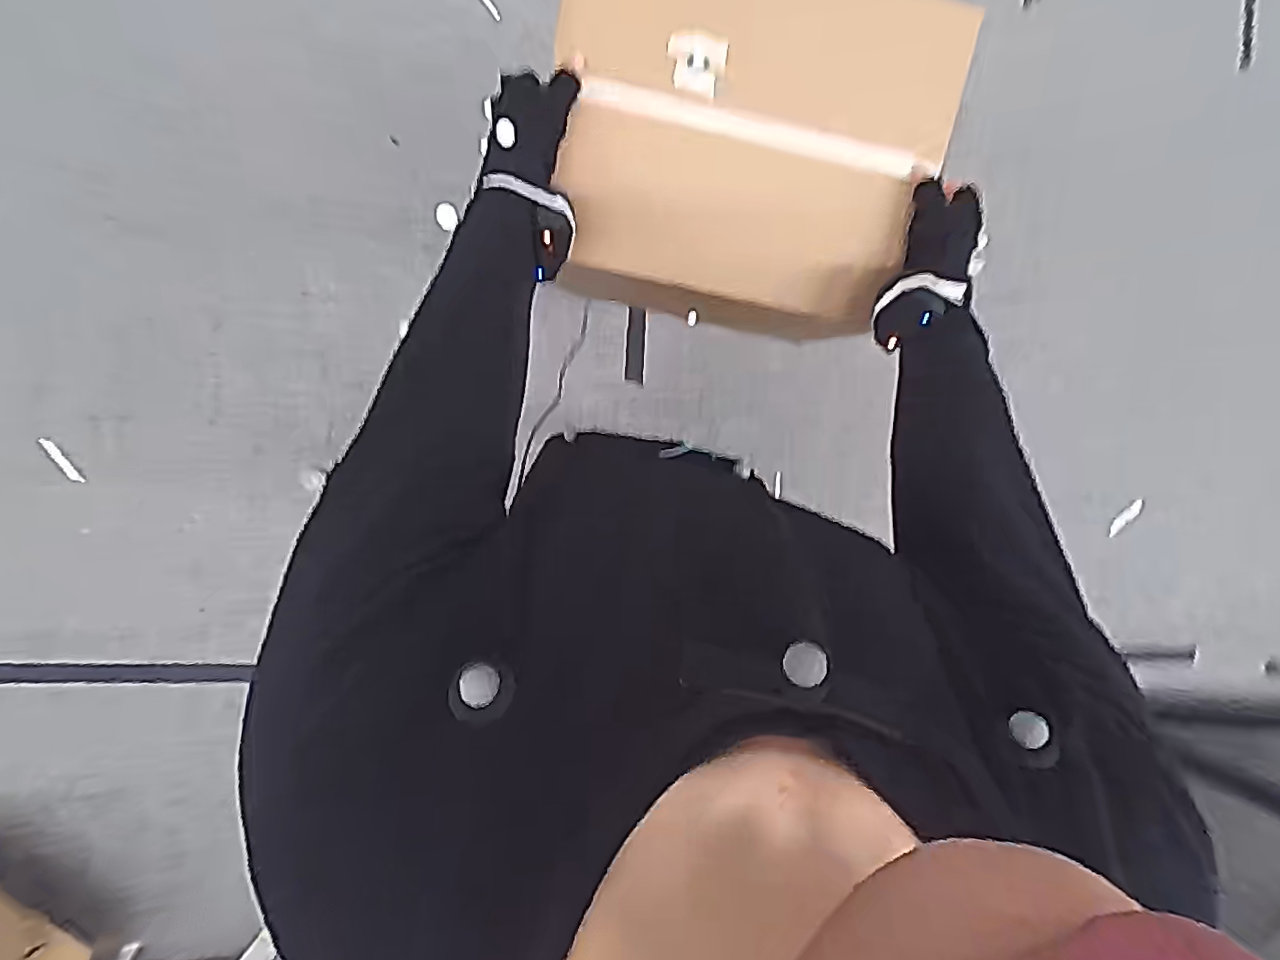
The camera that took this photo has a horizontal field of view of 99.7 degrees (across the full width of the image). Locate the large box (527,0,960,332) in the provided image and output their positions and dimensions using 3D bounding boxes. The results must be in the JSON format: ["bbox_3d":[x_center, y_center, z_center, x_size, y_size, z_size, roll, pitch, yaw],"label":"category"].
[{"bbox_3d":[0.097,-0.386,0.698,0.408,0.320,0.320,10,100,-5],"label":"large box"}]
